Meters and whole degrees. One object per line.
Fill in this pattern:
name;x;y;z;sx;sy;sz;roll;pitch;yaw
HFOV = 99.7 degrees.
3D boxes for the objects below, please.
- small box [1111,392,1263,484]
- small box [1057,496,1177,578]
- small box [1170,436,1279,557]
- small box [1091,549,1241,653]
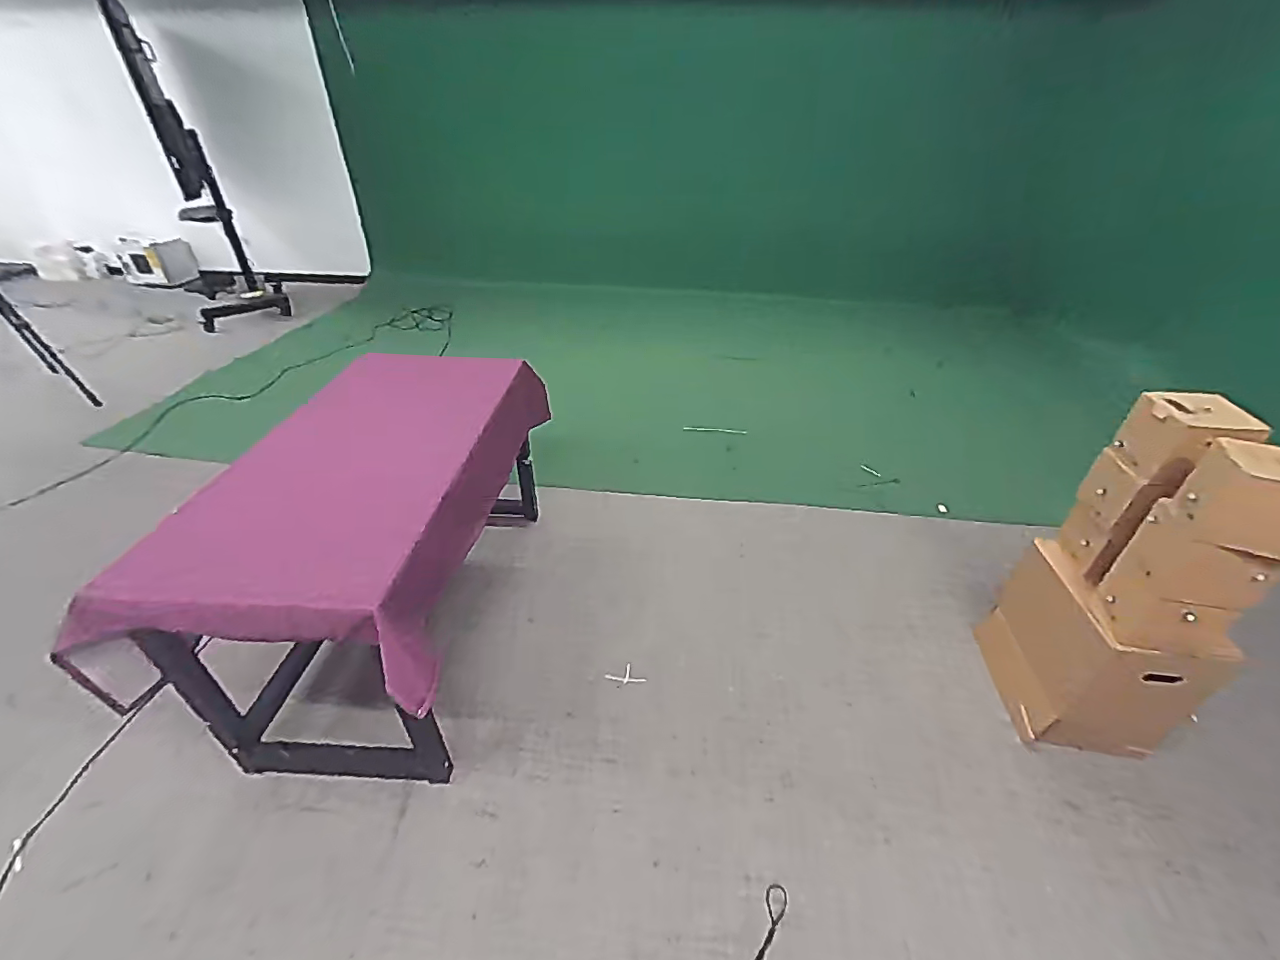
small box;1.303;-0.100;1.312;0.179;0.176;0.168;4;37;5
small box;1.310;0.164;1.507;0.179;0.176;0.168;5;37;7
small box;1.265;0.035;1.115;0.179;0.176;0.168;15;37;21
small box;1.265;0.295;1.317;0.179;0.176;0.168;7;35;11
